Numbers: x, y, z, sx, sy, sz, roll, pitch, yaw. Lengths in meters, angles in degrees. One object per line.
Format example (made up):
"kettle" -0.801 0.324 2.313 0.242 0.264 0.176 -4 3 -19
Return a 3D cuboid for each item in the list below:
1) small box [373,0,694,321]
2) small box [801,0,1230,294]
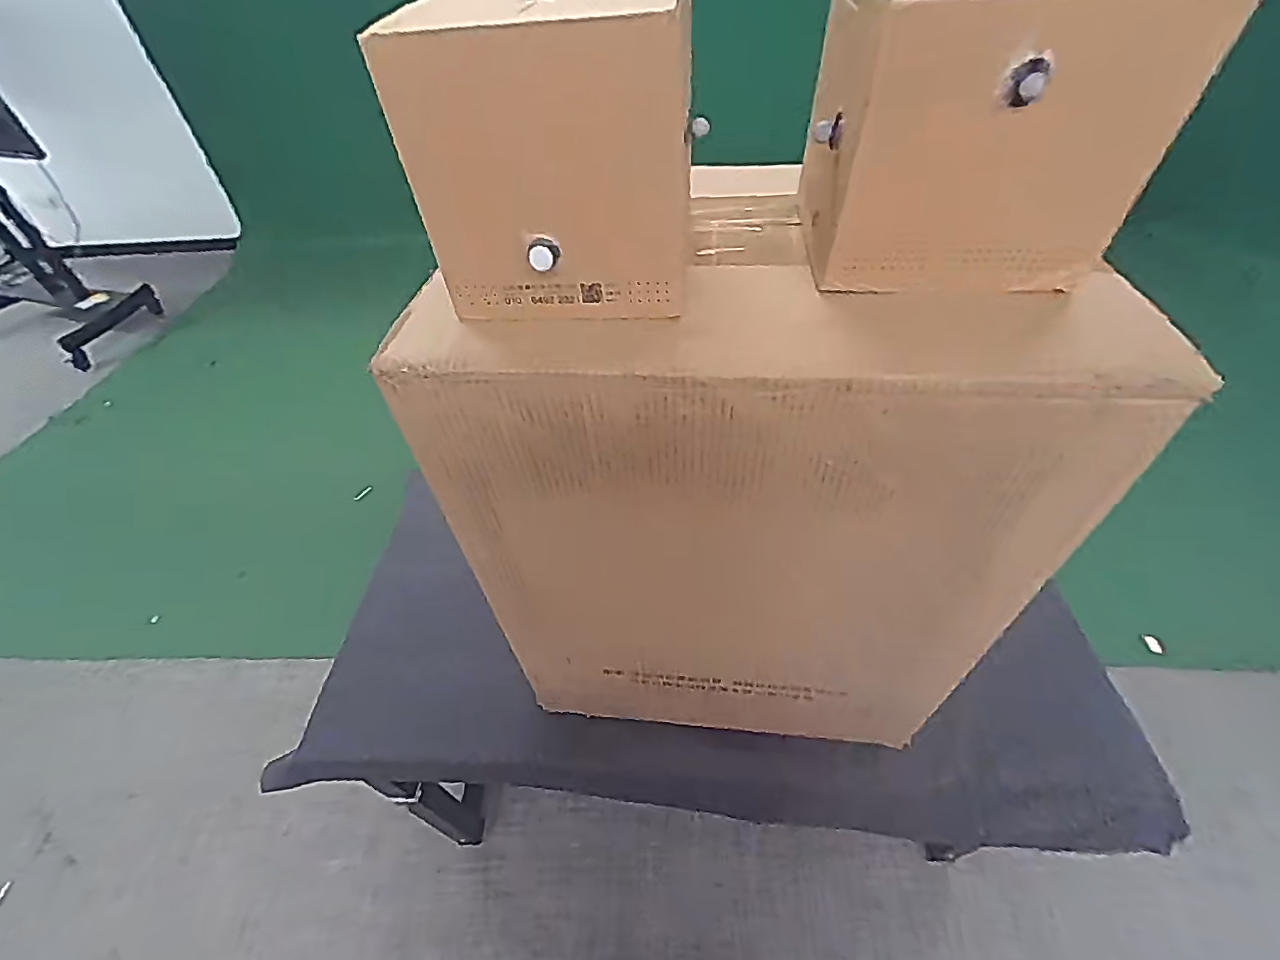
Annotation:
"small box" -0.048 -0.236 0.389 0.168 0.176 0.179 2 49 7
"small box" 0.217 -0.248 0.380 0.179 0.176 0.168 3 50 4
